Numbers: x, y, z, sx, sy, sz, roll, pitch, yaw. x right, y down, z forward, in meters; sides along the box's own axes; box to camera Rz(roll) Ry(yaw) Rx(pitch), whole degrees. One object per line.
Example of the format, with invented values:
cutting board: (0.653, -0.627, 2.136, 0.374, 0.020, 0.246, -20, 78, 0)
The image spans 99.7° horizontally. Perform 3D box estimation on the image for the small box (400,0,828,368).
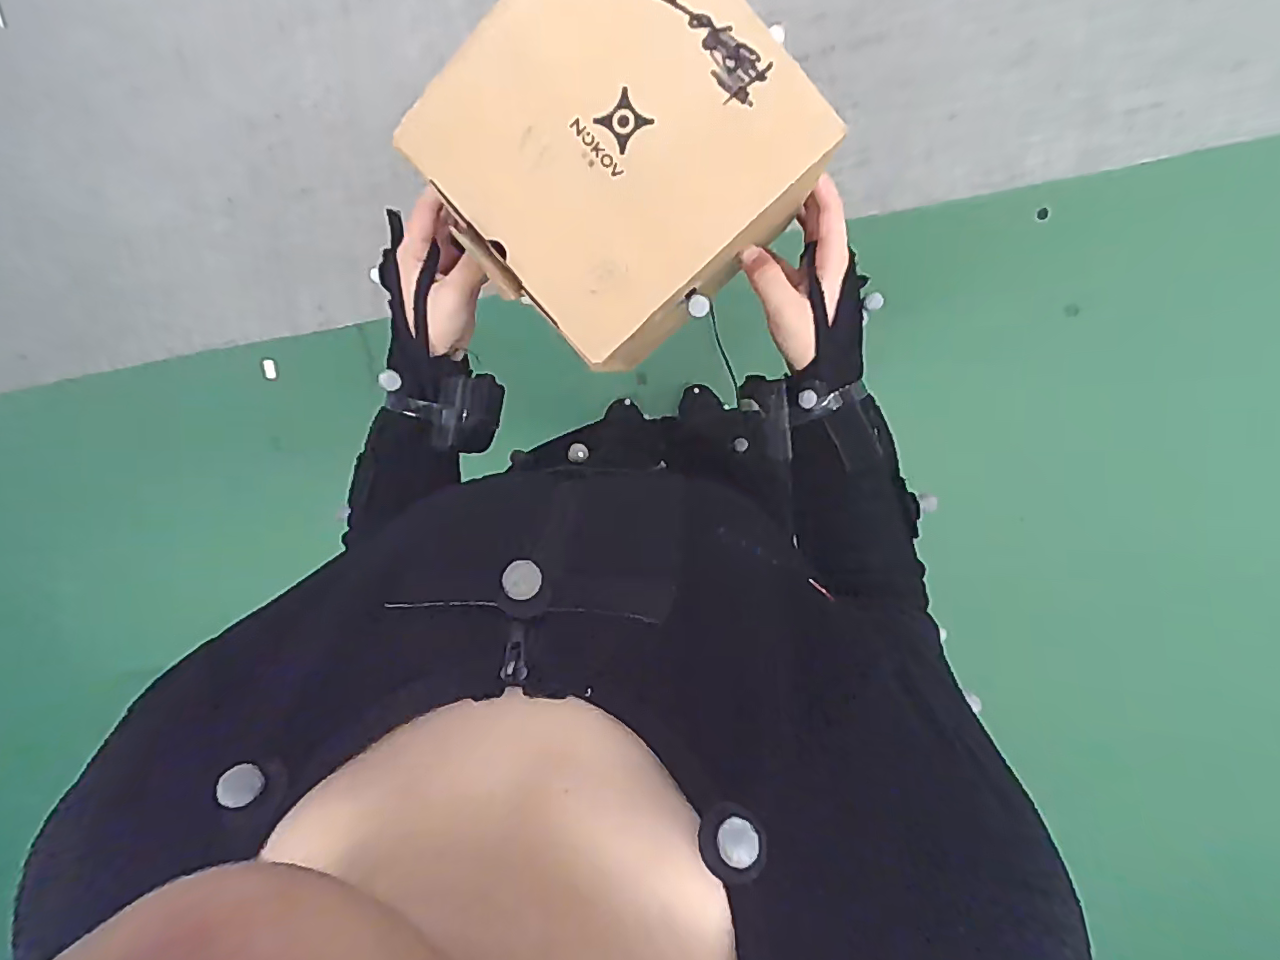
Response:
small box: (-0.009, -0.190, 0.363, 0.179, 0.176, 0.168, -41, 94, 12)
